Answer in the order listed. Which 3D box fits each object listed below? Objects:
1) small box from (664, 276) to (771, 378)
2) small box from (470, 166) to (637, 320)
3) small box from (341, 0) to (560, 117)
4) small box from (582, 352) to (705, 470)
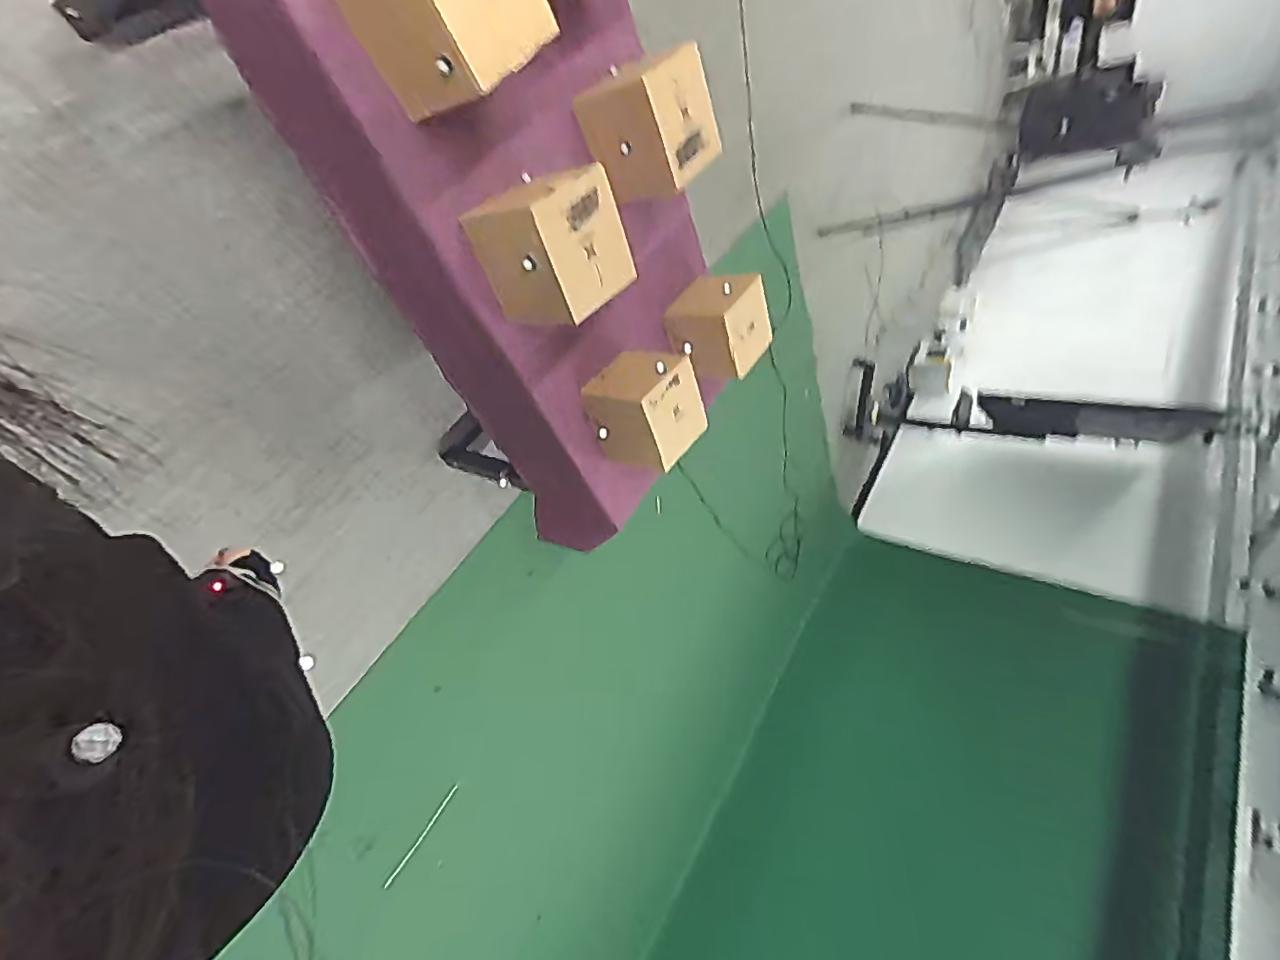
[{"bbox_3d":[0.185,-0.364,1.274,0.179,0.176,0.168,-50,135,-28],"label":"small box"},{"bbox_3d":[-0.138,-0.372,0.868,0.168,0.176,0.179,-49,136,-31],"label":"small box"},{"bbox_3d":[-0.240,-0.592,0.669,0.168,0.176,0.179,-58,140,-22],"label":"small box"},{"bbox_3d":[0.010,-0.150,1.125,0.168,0.176,0.179,-48,135,-32],"label":"small box"}]
